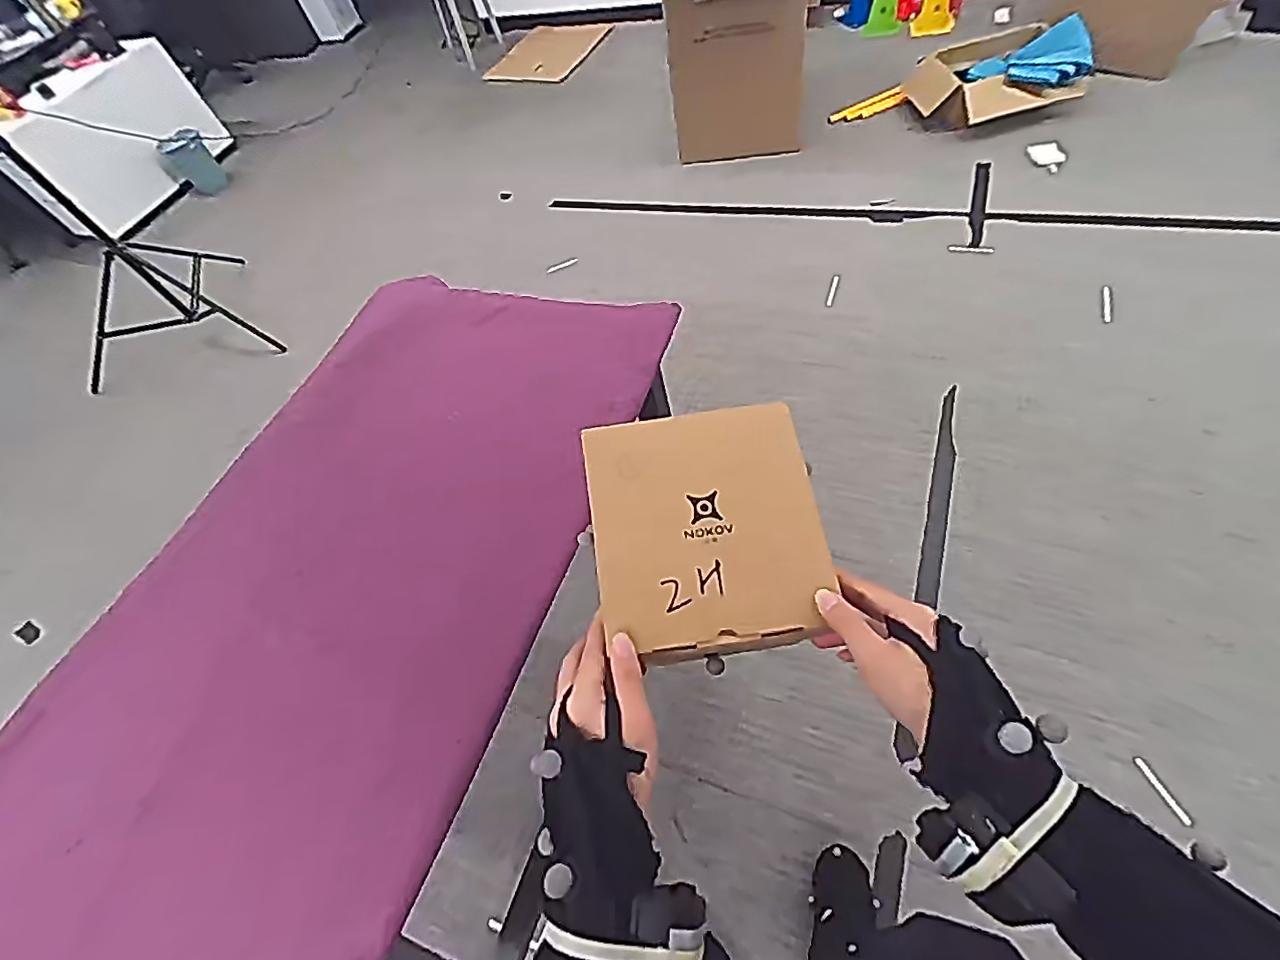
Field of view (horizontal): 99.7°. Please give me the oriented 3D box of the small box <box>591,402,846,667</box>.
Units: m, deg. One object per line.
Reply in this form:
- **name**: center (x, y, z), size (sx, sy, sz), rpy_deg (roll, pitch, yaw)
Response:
- **small box**: center (0.052, 0.057, 0.472), size (0.168, 0.176, 0.179), rpy_deg (-8, 67, -1)
